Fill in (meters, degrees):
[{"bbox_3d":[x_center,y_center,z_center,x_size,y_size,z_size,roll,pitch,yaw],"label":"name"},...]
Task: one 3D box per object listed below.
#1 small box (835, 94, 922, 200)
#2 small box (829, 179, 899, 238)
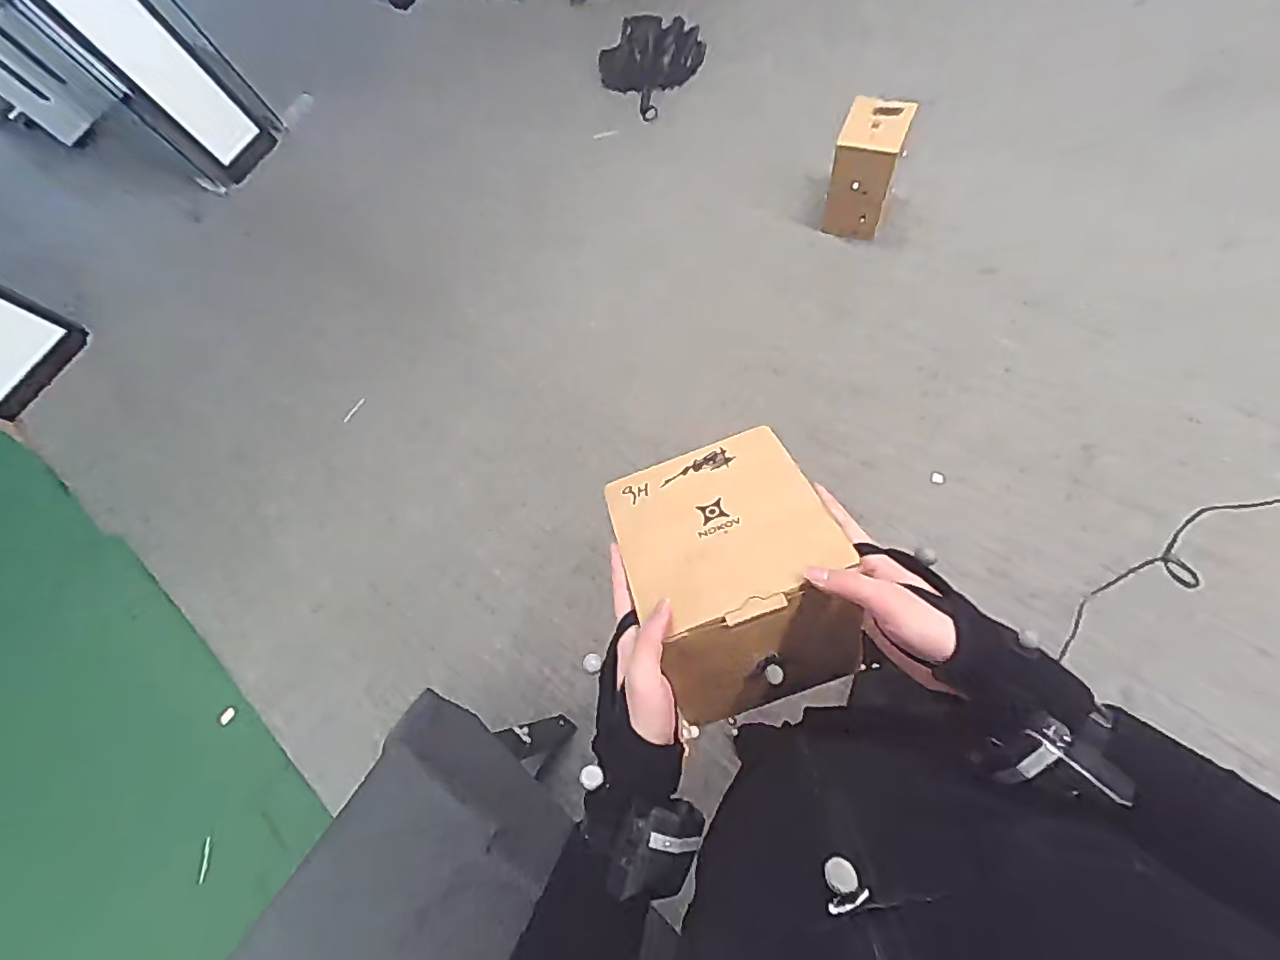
[{"bbox_3d":[0.655,-0.923,1.504,0.168,0.176,0.179,20,79,19],"label":"small box"},{"bbox_3d":[0.688,-0.877,1.659,0.168,0.176,0.179,19,76,18],"label":"small box"}]
